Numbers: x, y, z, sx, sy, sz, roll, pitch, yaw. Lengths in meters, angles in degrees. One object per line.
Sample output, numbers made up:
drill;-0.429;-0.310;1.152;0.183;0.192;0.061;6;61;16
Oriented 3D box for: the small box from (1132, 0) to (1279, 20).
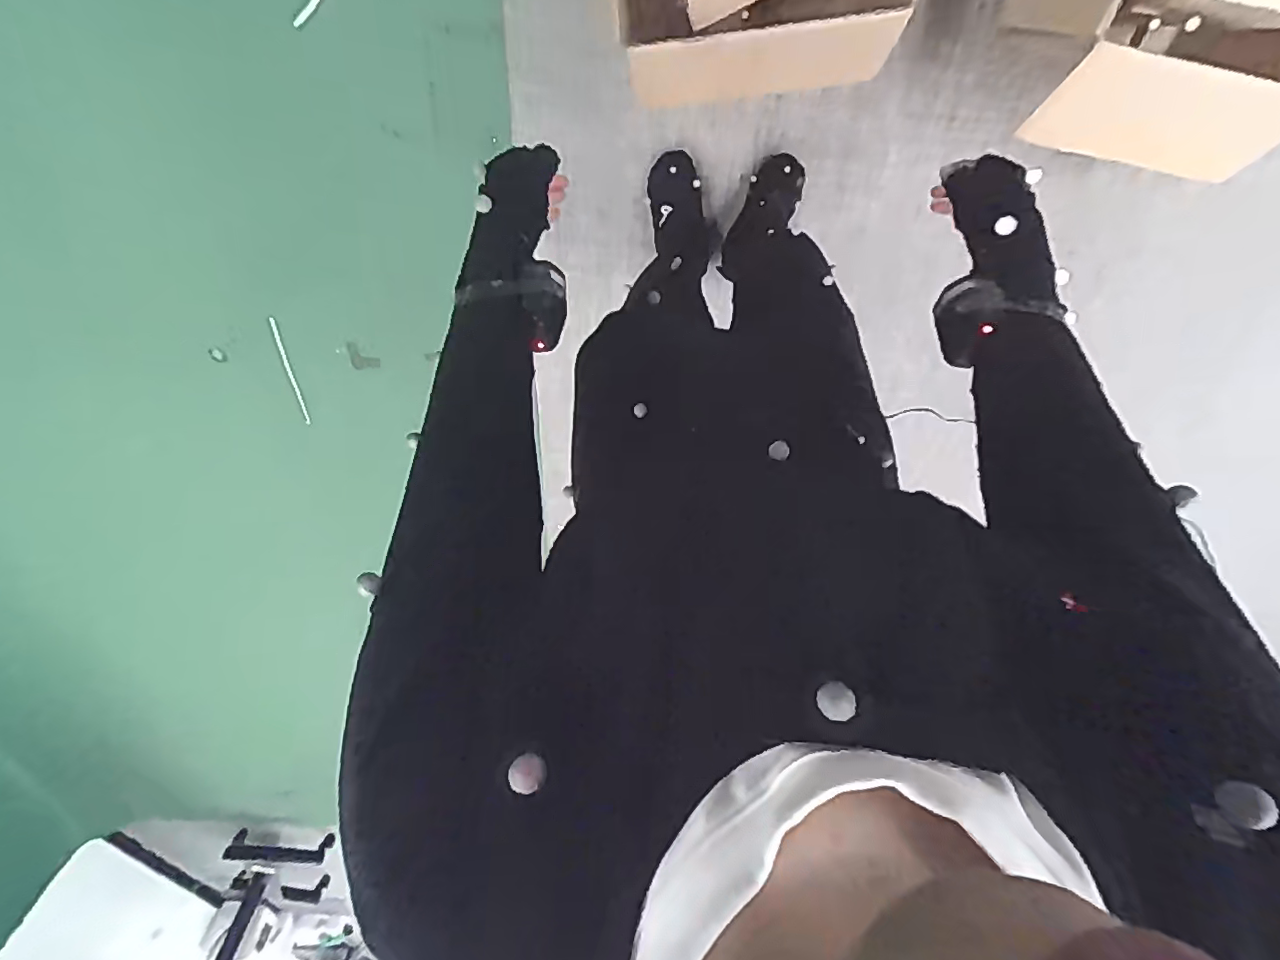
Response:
small box;0.827;-0.729;0.713;0.179;0.176;0.168;8;128;-4
